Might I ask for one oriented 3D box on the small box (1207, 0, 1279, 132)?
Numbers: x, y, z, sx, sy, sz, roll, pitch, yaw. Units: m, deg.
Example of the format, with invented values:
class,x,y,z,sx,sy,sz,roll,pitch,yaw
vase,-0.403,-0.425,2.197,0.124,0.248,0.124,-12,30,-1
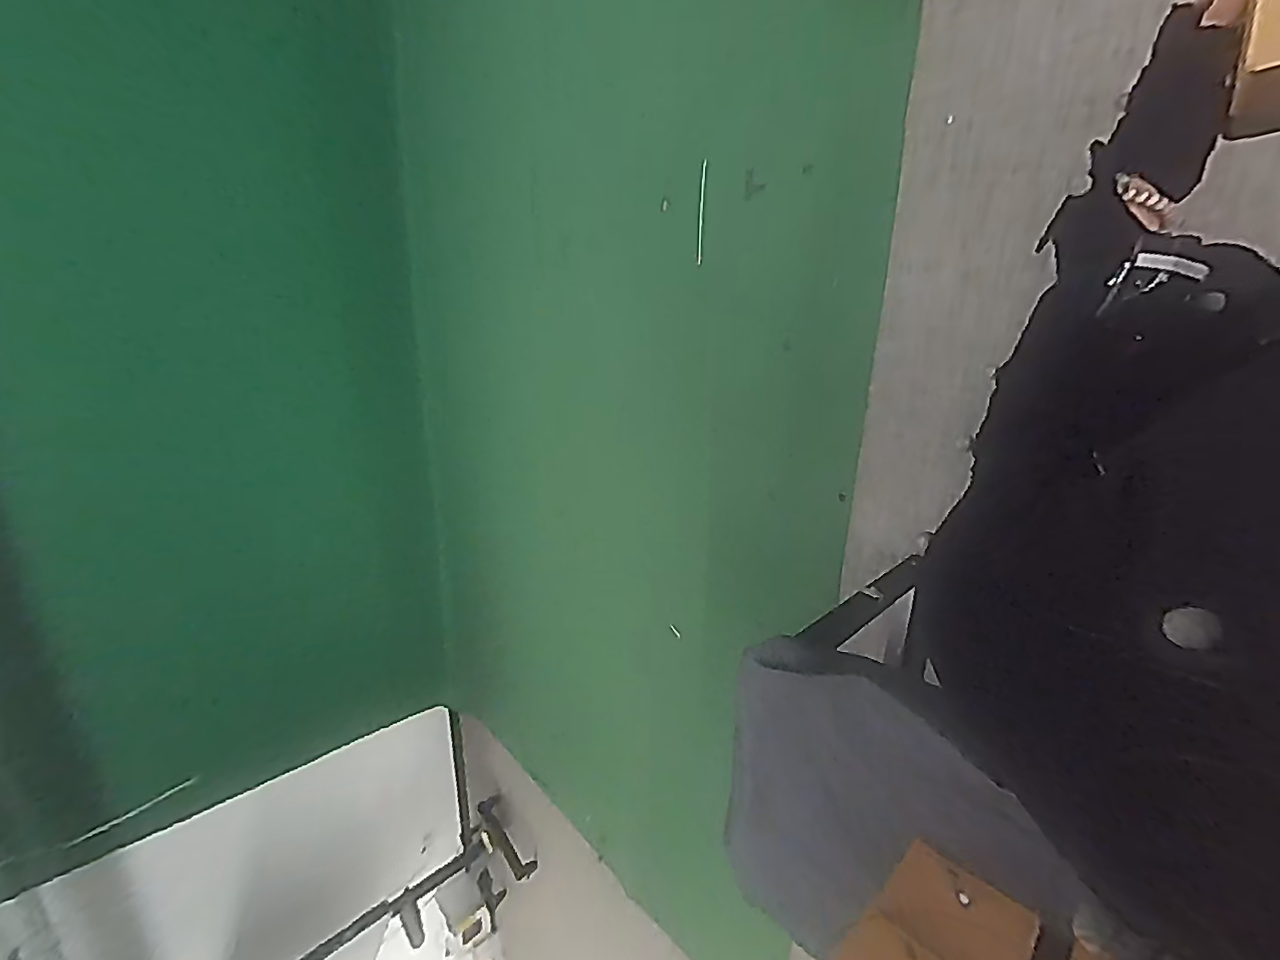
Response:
class,x,y,z,sx,sy,sz,roll,pitch,yaw
small box,0.451,-0.319,0.291,0.179,0.176,0.168,9,108,41
